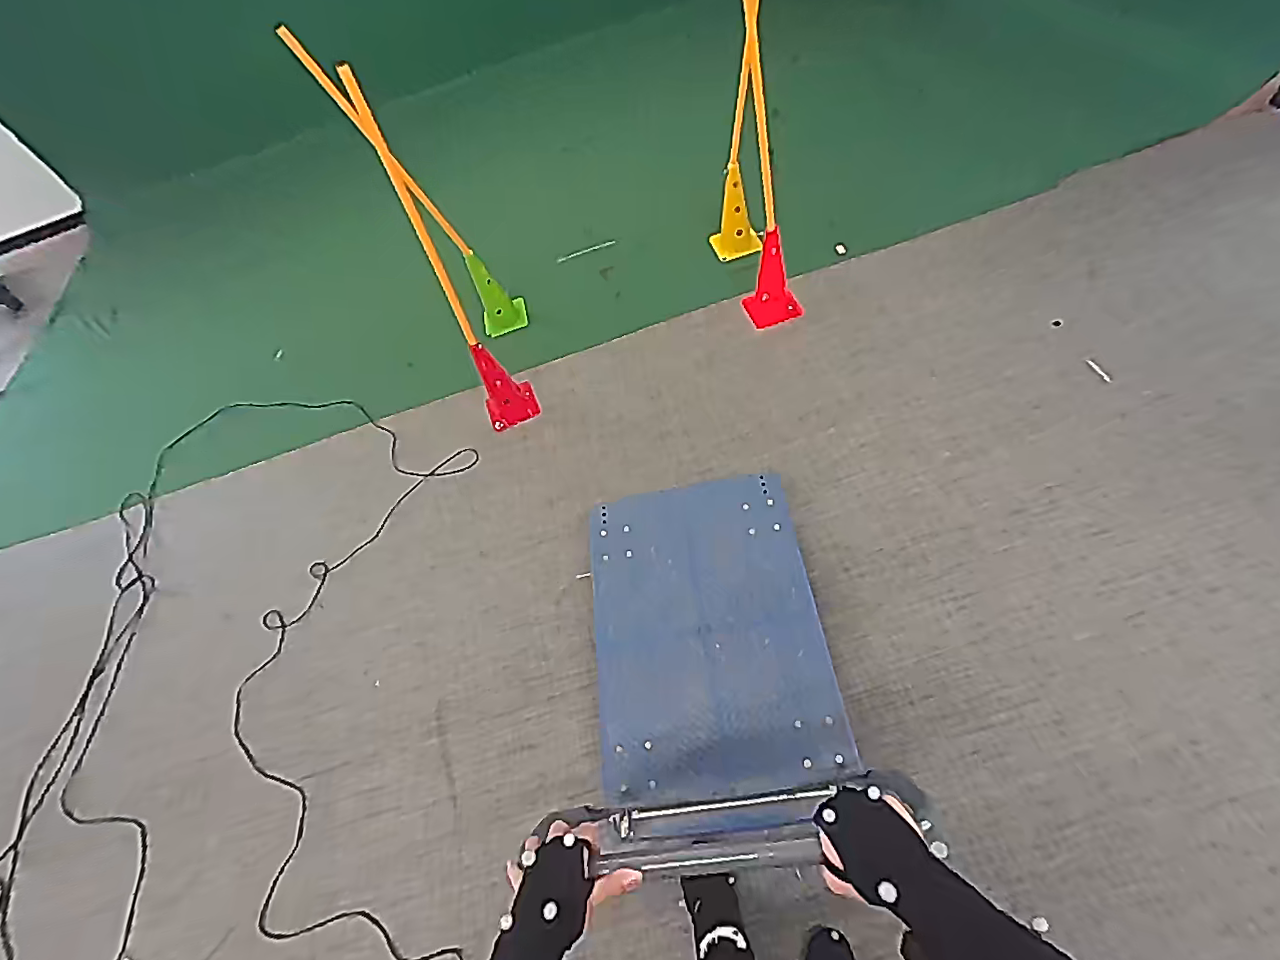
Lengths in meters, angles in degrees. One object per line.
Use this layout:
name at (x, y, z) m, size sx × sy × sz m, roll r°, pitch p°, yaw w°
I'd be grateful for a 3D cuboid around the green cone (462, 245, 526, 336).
green cone at (-0.659, -0.838, 2.326) m, size 0.200 × 0.368 × 0.202 m, roll -19°, pitch 55°, yaw 2°

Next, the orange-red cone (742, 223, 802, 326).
orange-red cone at (0.491, -0.791, 2.026) m, size 0.198 × 0.360 × 0.199 m, roll -18°, pitch 55°, yaw 1°
